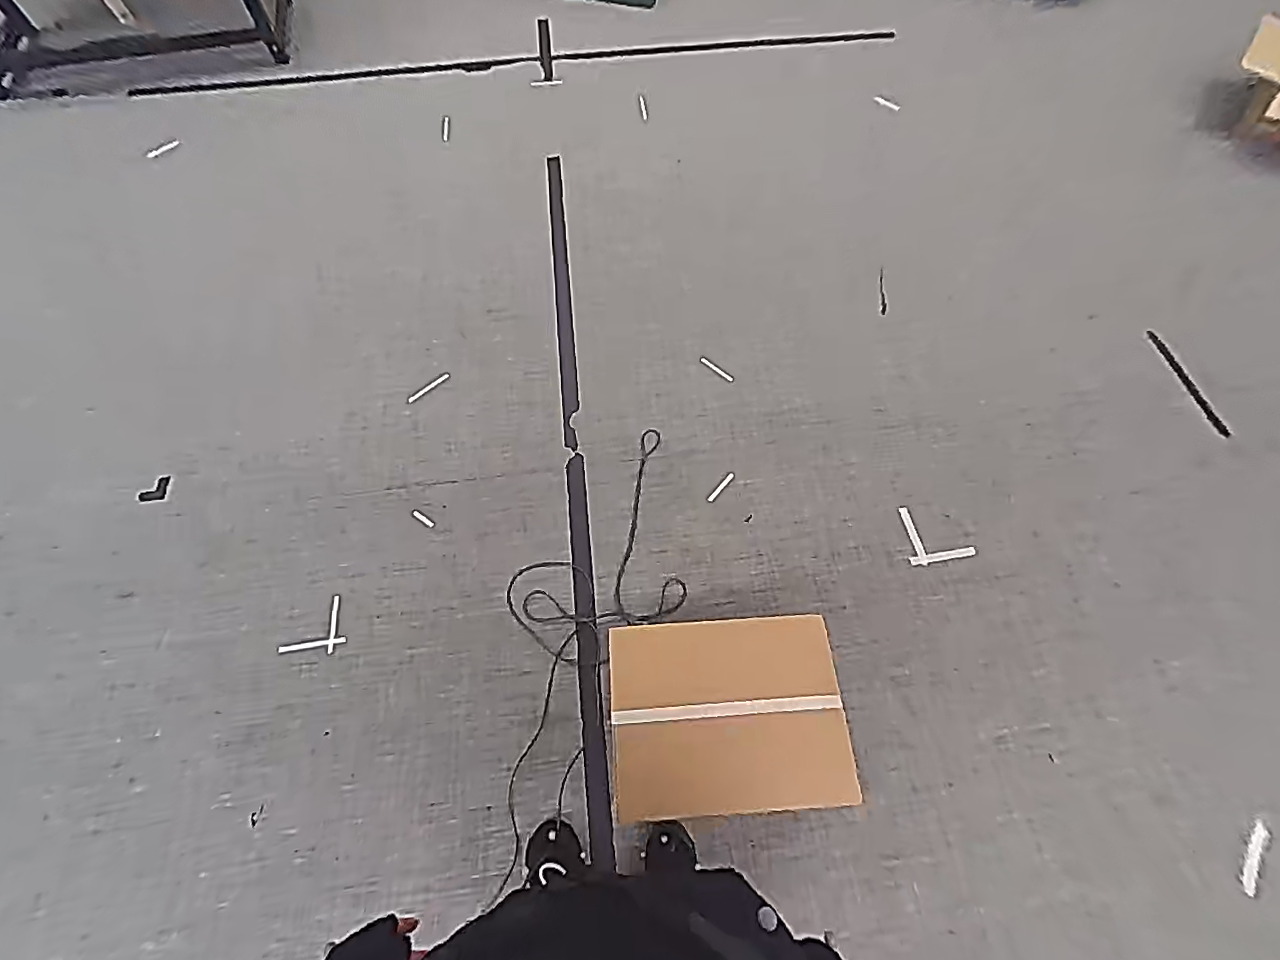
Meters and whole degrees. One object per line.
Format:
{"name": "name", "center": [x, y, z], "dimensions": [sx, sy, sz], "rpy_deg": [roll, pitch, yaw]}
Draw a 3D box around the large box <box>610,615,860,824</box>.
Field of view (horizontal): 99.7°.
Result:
{"name": "large box", "center": [0.154, 0.473, 1.080], "dimensions": [0.408, 0.320, 0.320], "rpy_deg": [-3, 64, -2]}
